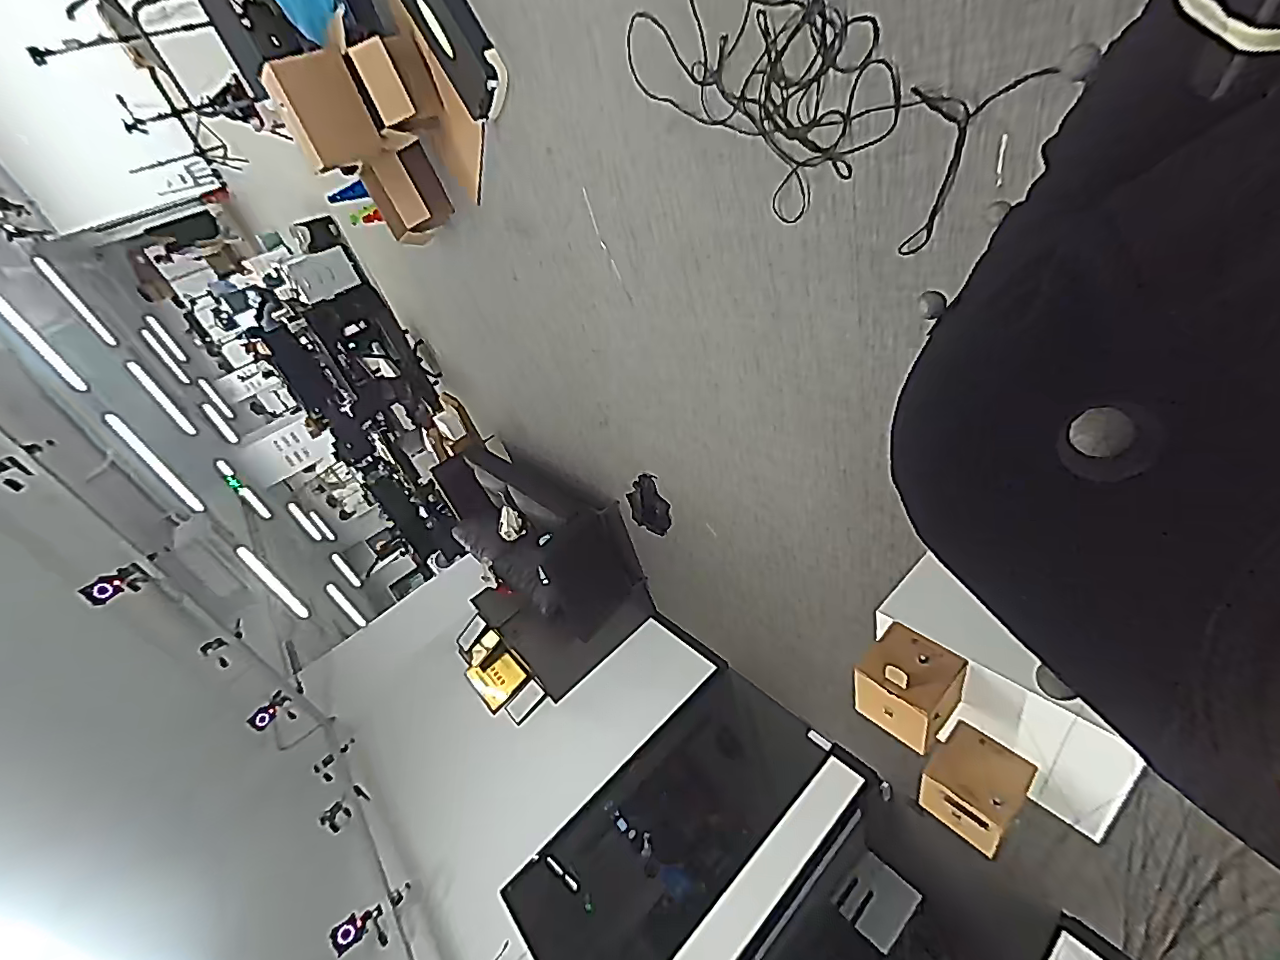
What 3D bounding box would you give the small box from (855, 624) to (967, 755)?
[{"bbox_3d":[0.604,0.463,1.211,0.168,0.176,0.179,28,146,45],"label":"small box"}]
